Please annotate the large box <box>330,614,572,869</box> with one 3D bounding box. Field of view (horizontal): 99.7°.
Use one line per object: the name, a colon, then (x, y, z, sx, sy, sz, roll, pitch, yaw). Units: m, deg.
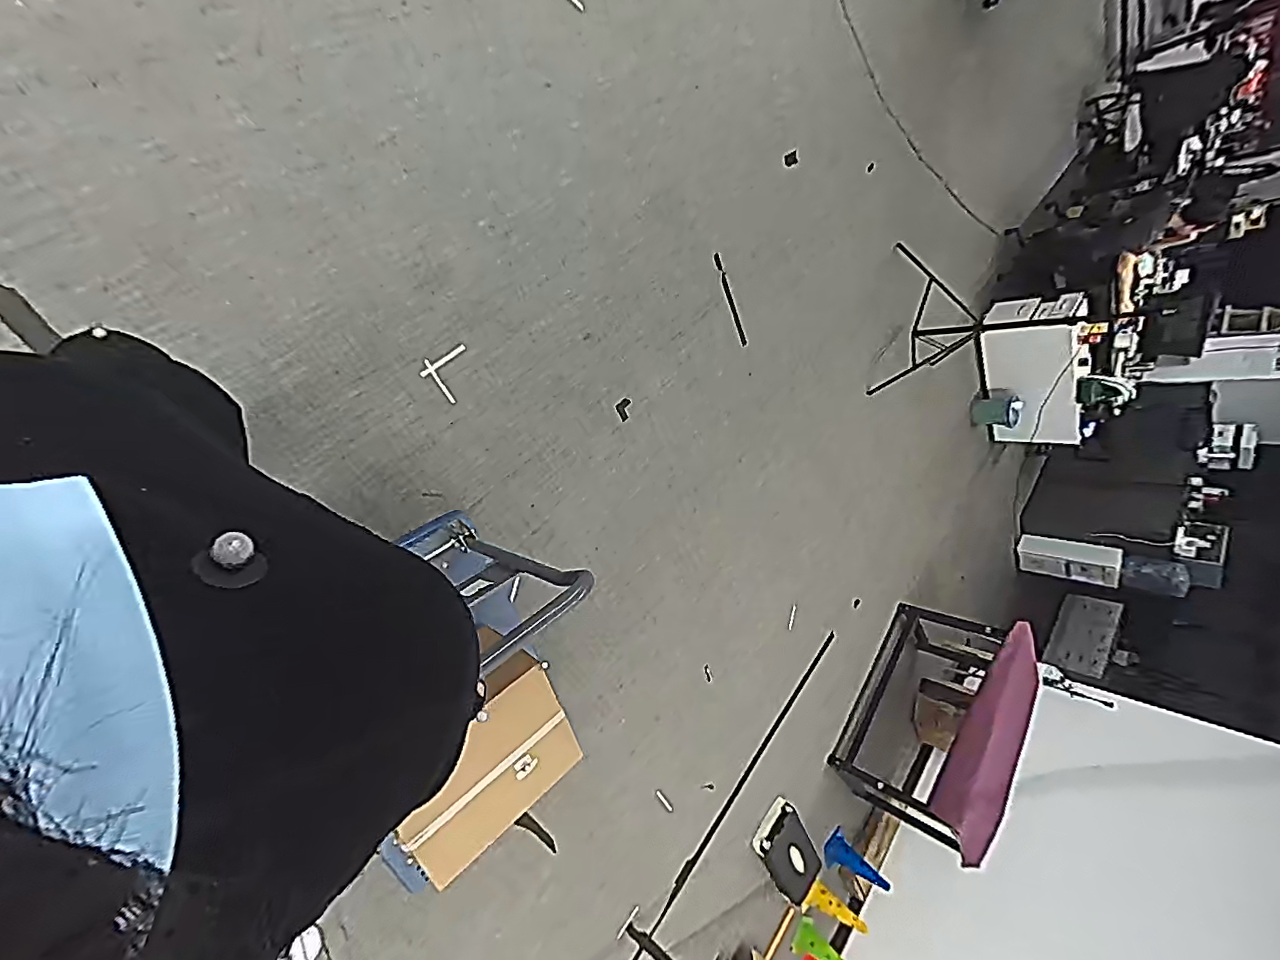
large box: (-0.451, 0.598, 1.318, 0.408, 0.320, 0.320, -34, 117, -34)
